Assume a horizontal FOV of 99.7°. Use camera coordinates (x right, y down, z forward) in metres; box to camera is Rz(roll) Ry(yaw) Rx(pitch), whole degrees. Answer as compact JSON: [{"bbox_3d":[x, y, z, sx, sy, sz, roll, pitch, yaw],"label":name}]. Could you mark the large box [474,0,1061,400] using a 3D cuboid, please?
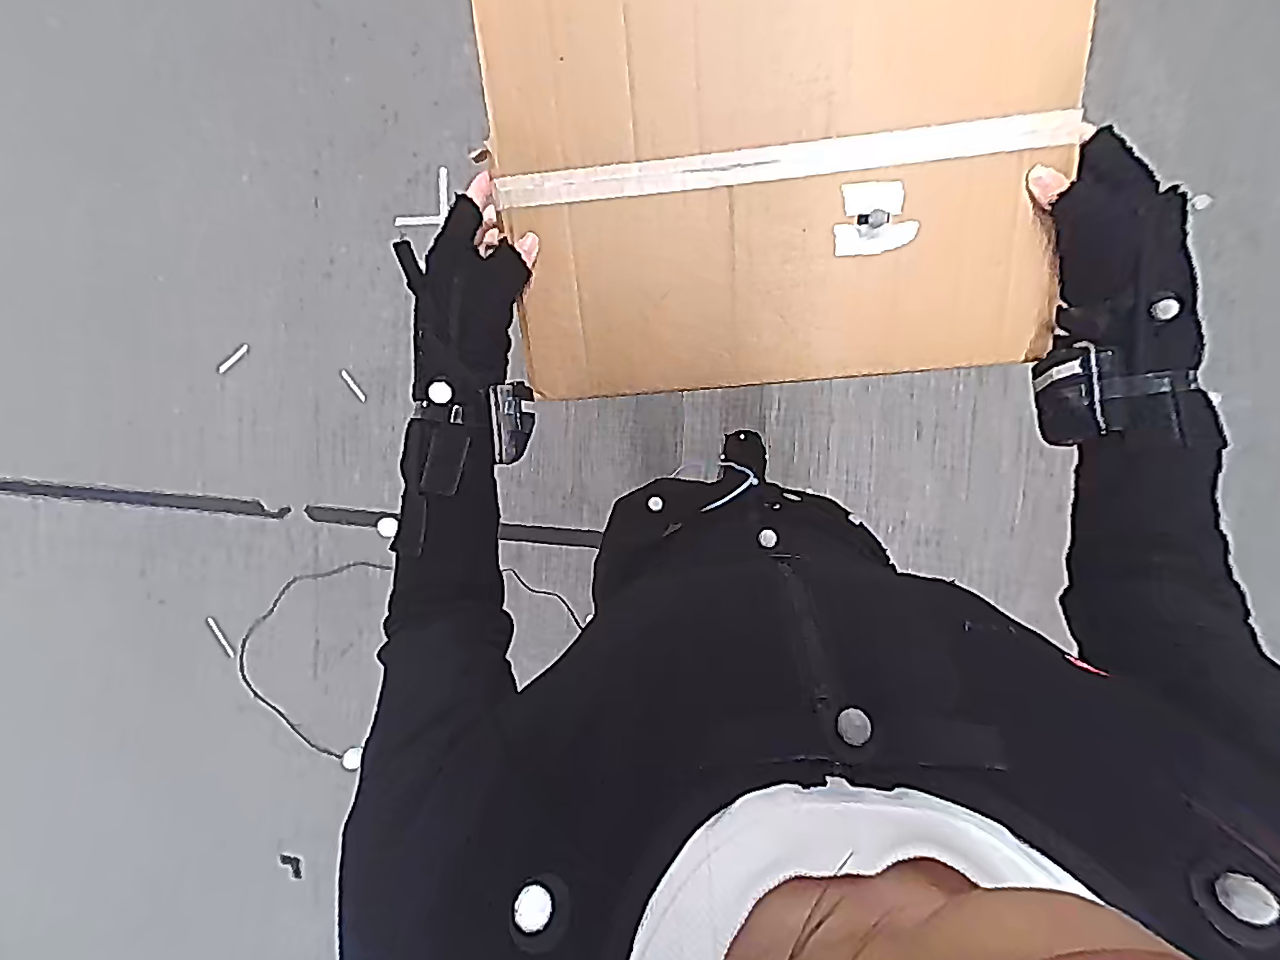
[{"bbox_3d":[0.100,-0.276,0.544,0.408,0.320,0.320,-5,108,4],"label":"large box"}]
